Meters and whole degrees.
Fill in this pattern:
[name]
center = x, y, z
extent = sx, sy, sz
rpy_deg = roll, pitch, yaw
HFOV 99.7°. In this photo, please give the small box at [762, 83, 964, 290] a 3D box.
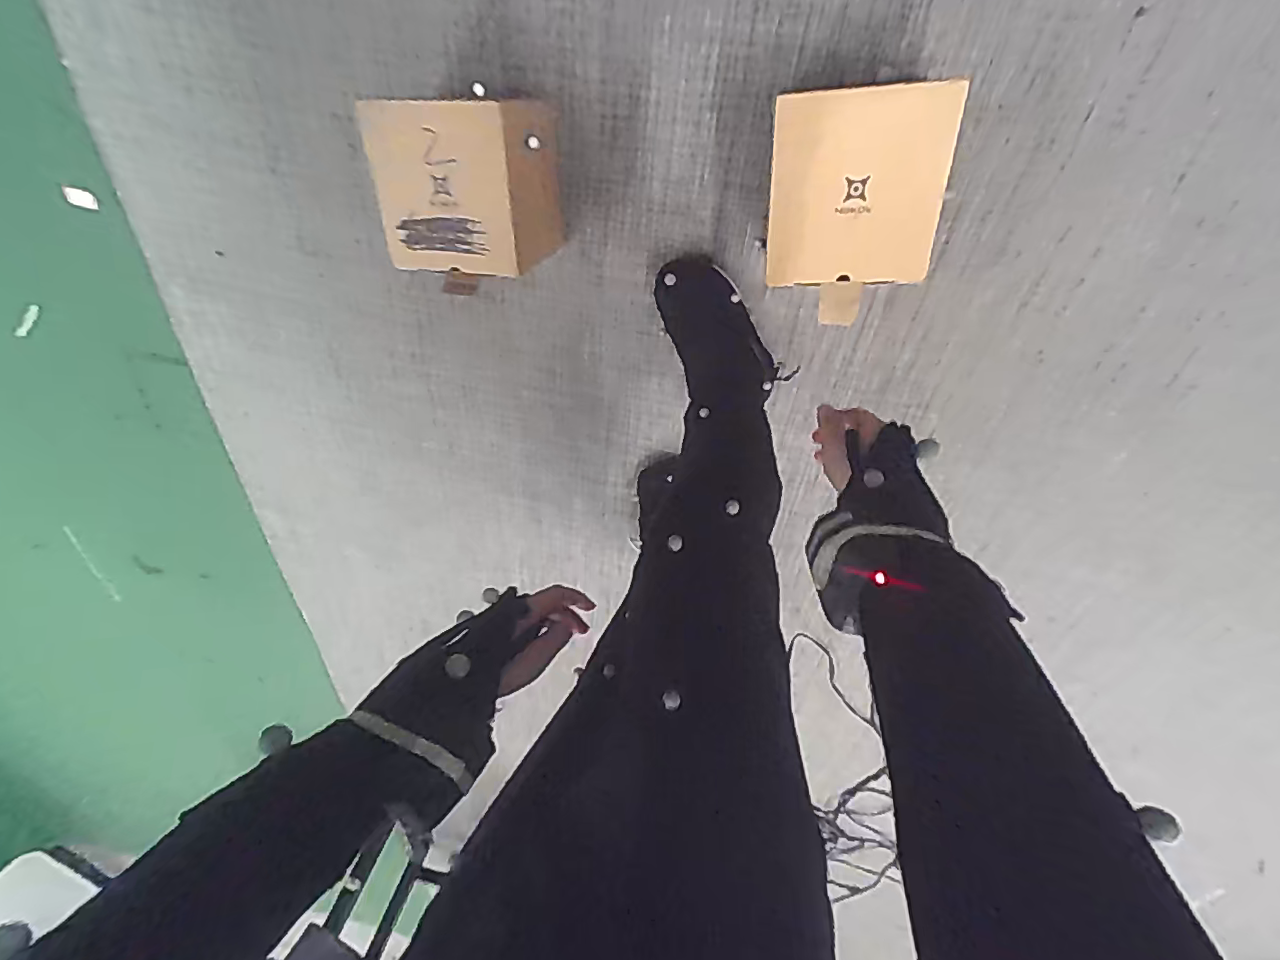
[small box]
center = 0.224, -0.323, 0.597
extent = 0.168, 0.176, 0.179
rpy_deg = 3, 126, 11
